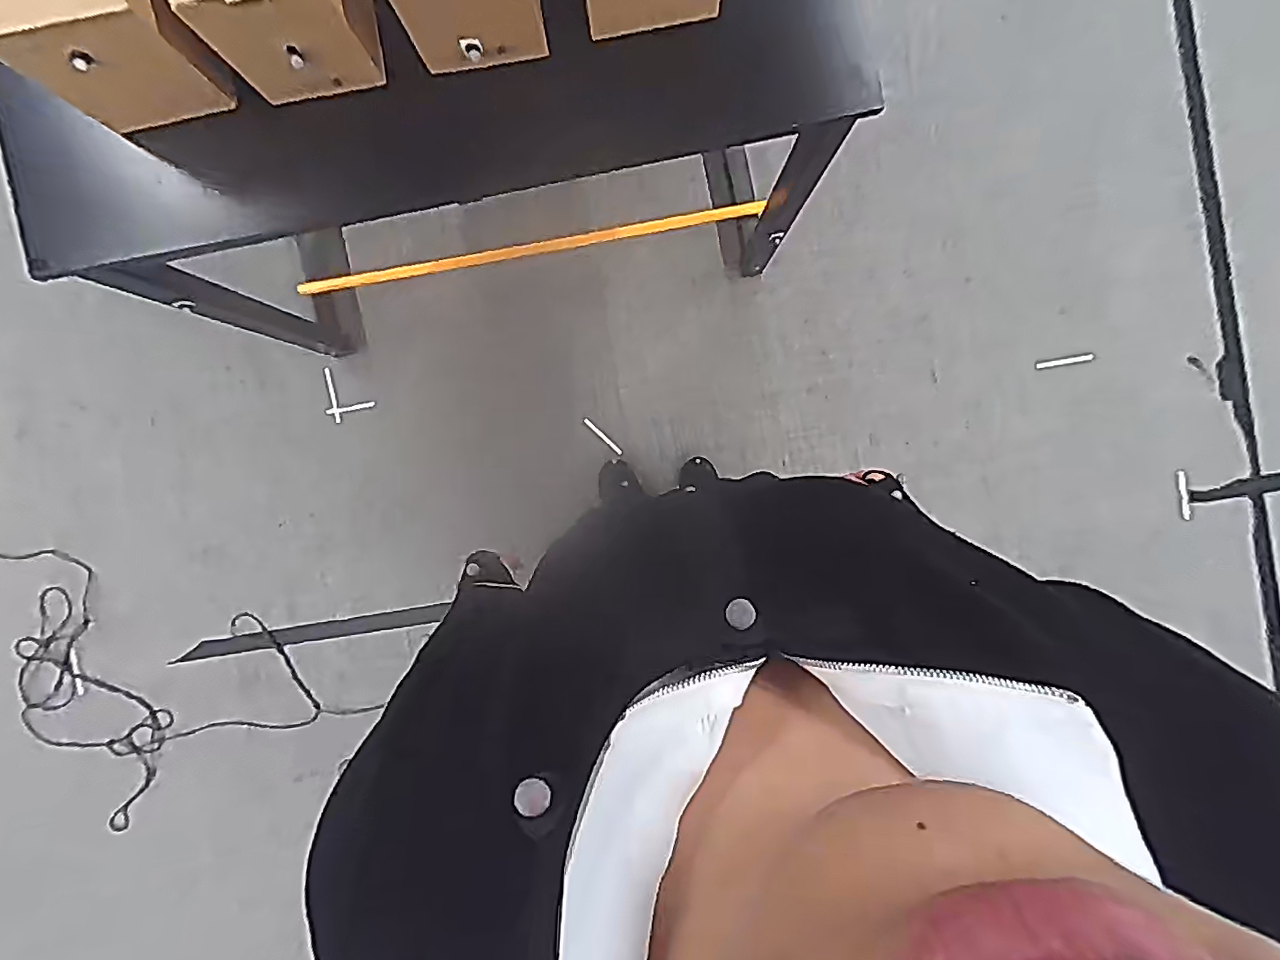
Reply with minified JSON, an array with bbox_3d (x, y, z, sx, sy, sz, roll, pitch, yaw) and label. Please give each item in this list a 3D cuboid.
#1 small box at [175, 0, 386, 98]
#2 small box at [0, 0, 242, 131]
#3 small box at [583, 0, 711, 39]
[{"bbox_3d":[-0.441,-0.612,0.668,0.168,0.176,0.179,-10,92,1],"label":"small box"},{"bbox_3d":[-0.652,-0.573,0.671,0.179,0.176,0.168,-13,92,0],"label":"small box"},{"bbox_3d":[0.005,-0.692,0.659,0.179,0.176,0.168,-10,92,1],"label":"small box"}]
